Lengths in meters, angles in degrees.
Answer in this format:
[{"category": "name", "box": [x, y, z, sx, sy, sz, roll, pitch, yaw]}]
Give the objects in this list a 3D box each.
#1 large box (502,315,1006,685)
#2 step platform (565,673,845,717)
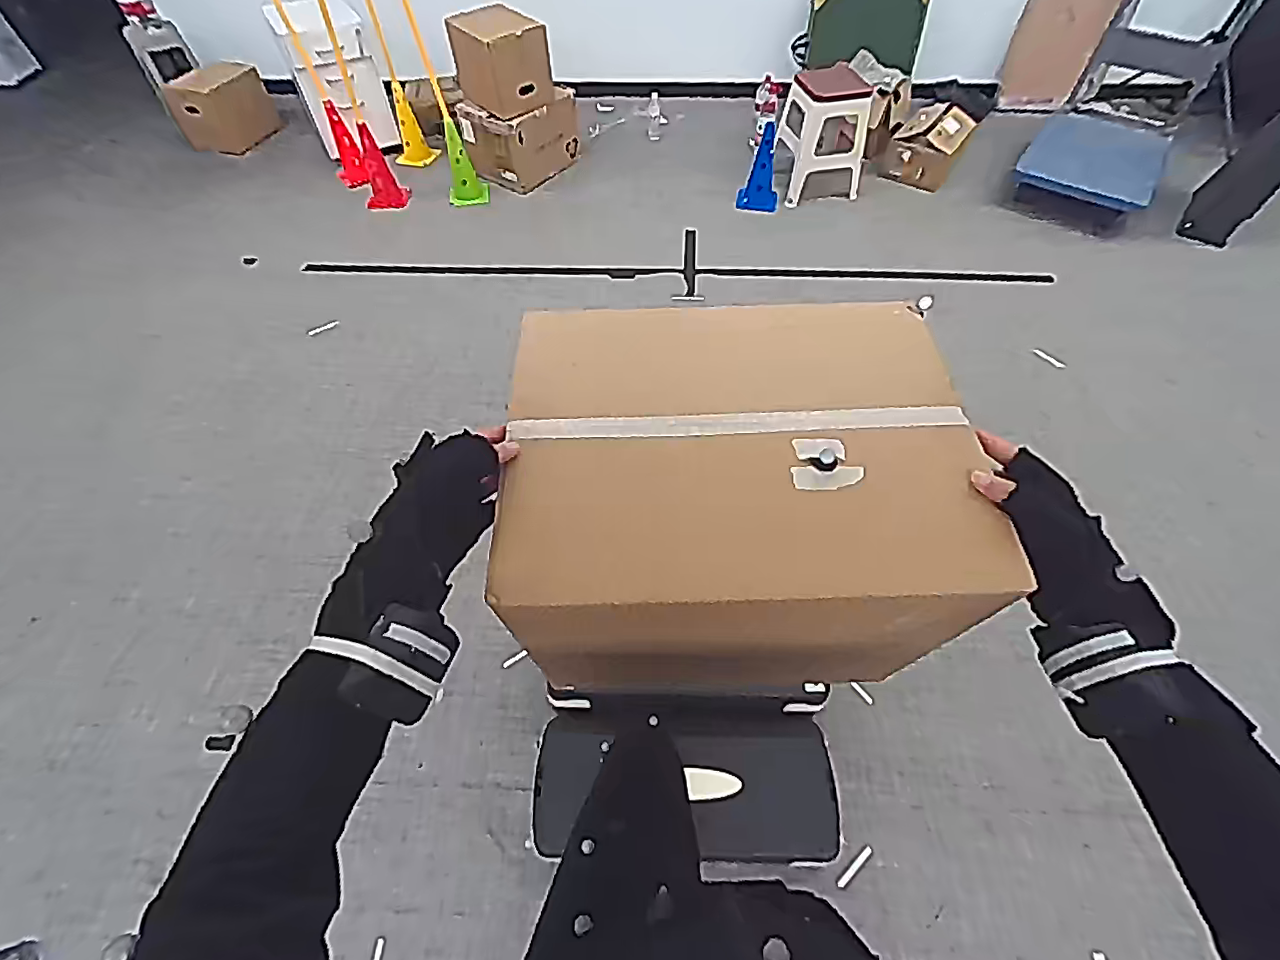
[{"category": "large box", "box": [0.085, 0.038, 0.622, 0.408, 0.320, 0.320, -1, 58, 0]}, {"category": "step platform", "box": [0.151, 0.427, 1.369, 0.684, 0.204, 0.286, 1, 55, 0]}]
